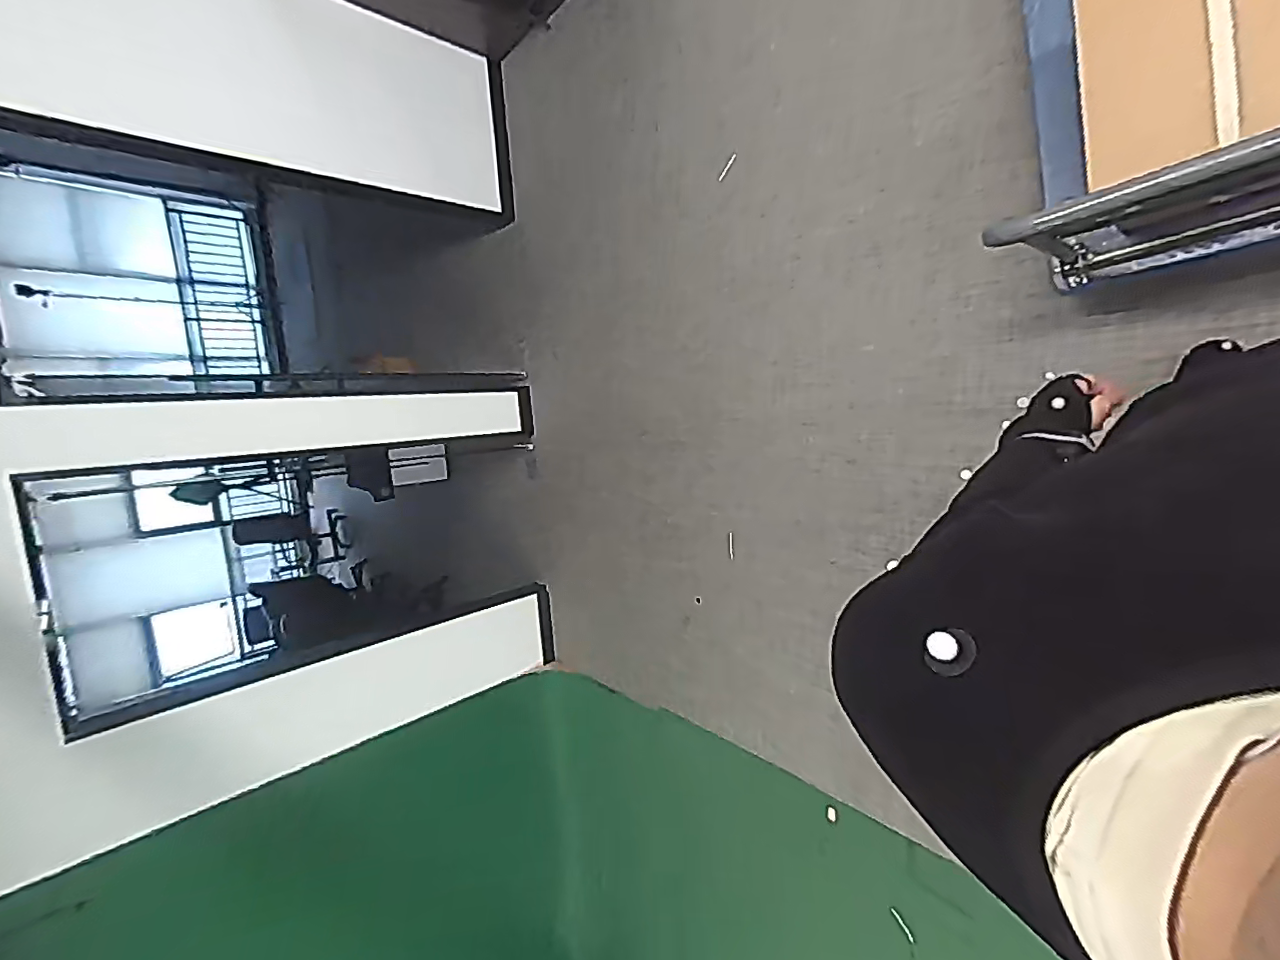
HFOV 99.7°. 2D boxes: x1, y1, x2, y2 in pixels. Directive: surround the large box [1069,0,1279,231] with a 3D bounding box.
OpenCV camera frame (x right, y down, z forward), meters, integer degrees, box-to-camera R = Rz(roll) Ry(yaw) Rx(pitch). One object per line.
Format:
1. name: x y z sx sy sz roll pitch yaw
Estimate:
1. large box: 0.932 -0.683 0.868 0.320 0.320 0.408 -5 92 48
